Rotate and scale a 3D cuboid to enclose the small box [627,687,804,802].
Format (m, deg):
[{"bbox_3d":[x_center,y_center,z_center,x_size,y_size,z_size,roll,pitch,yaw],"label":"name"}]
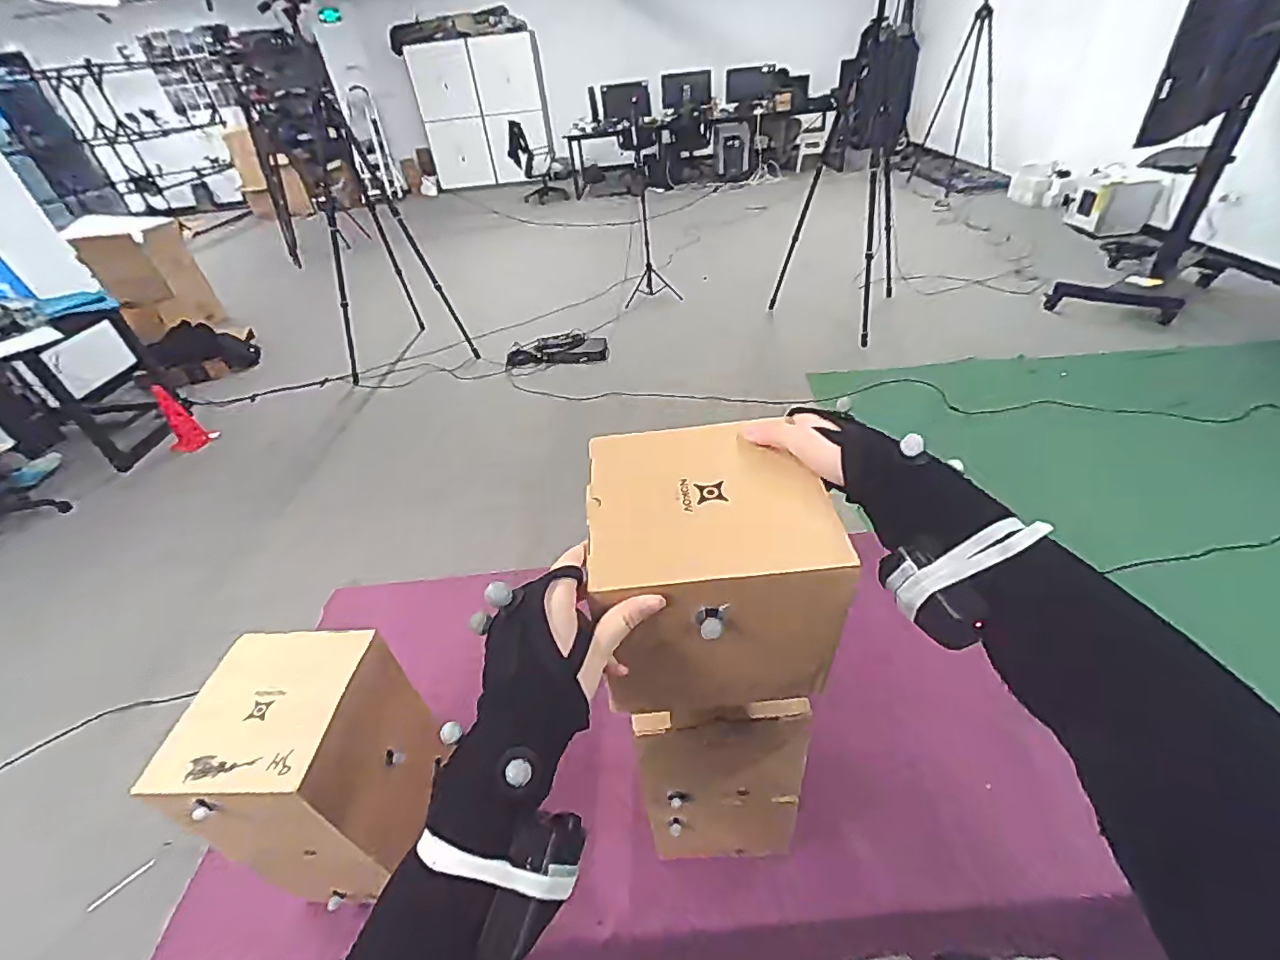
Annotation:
[{"bbox_3d":[0.075,0.235,0.604,0.168,0.176,0.179,-7,36,1],"label":"small box"}]

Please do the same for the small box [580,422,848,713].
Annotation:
[{"bbox_3d":[0.051,0.074,0.457,0.179,0.176,0.168,-7,41,1],"label":"small box"}]

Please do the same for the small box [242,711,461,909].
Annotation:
[{"bbox_3d":[-0.352,0.426,0.706,0.168,0.176,0.179,-4,39,6],"label":"small box"}]

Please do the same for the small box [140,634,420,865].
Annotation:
[{"bbox_3d":[-0.370,0.297,0.604,0.168,0.176,0.179,-5,37,6],"label":"small box"}]
